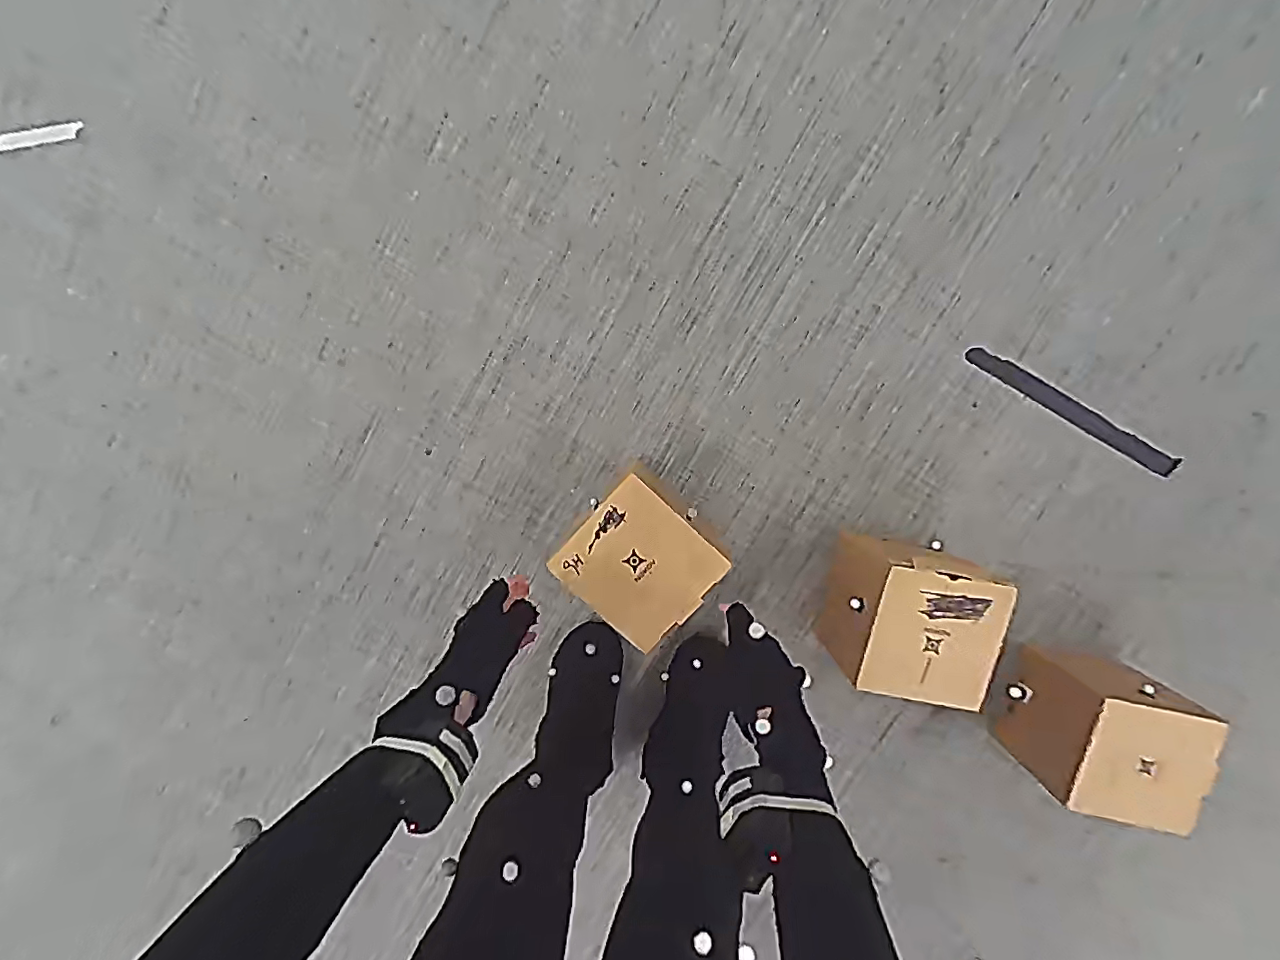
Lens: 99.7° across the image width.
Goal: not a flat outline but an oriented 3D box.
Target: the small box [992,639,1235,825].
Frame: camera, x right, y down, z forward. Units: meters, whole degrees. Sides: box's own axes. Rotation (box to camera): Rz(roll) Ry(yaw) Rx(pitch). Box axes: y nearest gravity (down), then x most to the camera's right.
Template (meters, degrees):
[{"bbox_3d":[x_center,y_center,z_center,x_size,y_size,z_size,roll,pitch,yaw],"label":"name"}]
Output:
[{"bbox_3d":[0.662,0.349,0.780,0.179,0.176,0.168,11,97,0],"label":"small box"}]

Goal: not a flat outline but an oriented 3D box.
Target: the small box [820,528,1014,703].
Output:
[{"bbox_3d":[0.370,0.176,0.757,0.168,0.176,0.179,10,99,0],"label":"small box"}]

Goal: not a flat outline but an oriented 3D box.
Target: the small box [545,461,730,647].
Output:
[{"bbox_3d":[-0.001,0.088,0.754,0.179,0.176,0.168,42,96,-5],"label":"small box"}]
